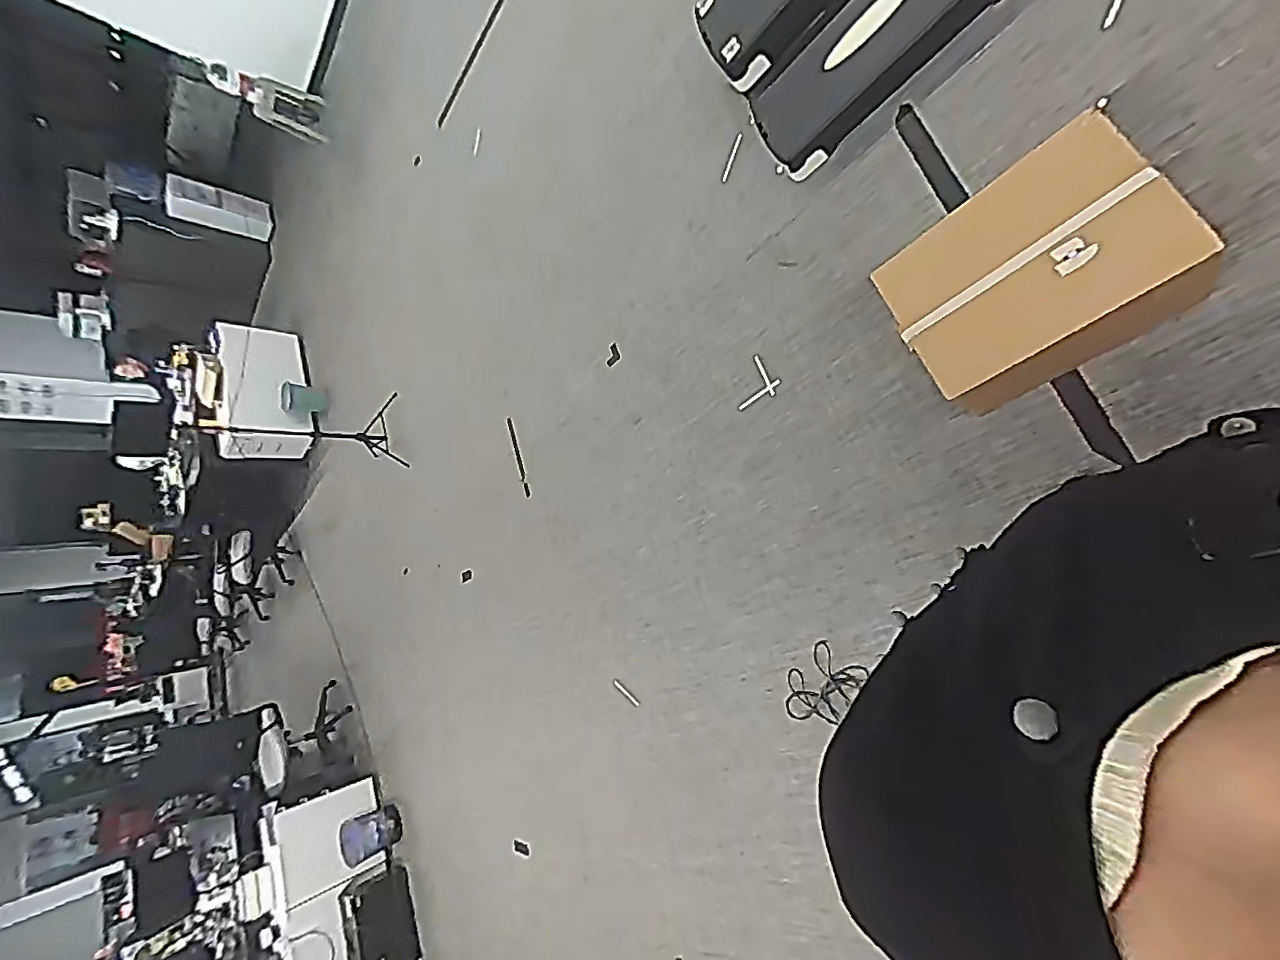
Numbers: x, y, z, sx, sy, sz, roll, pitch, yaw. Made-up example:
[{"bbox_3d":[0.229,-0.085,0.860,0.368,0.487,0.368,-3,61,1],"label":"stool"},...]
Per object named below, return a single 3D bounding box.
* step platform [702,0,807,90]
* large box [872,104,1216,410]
[{"bbox_3d":[0.472,-1.383,1.366,0.684,0.204,0.286,-27,73,40],"label":"step platform"},{"bbox_3d":[0.752,-0.381,1.049,0.408,0.320,0.320,-36,67,37],"label":"large box"}]
